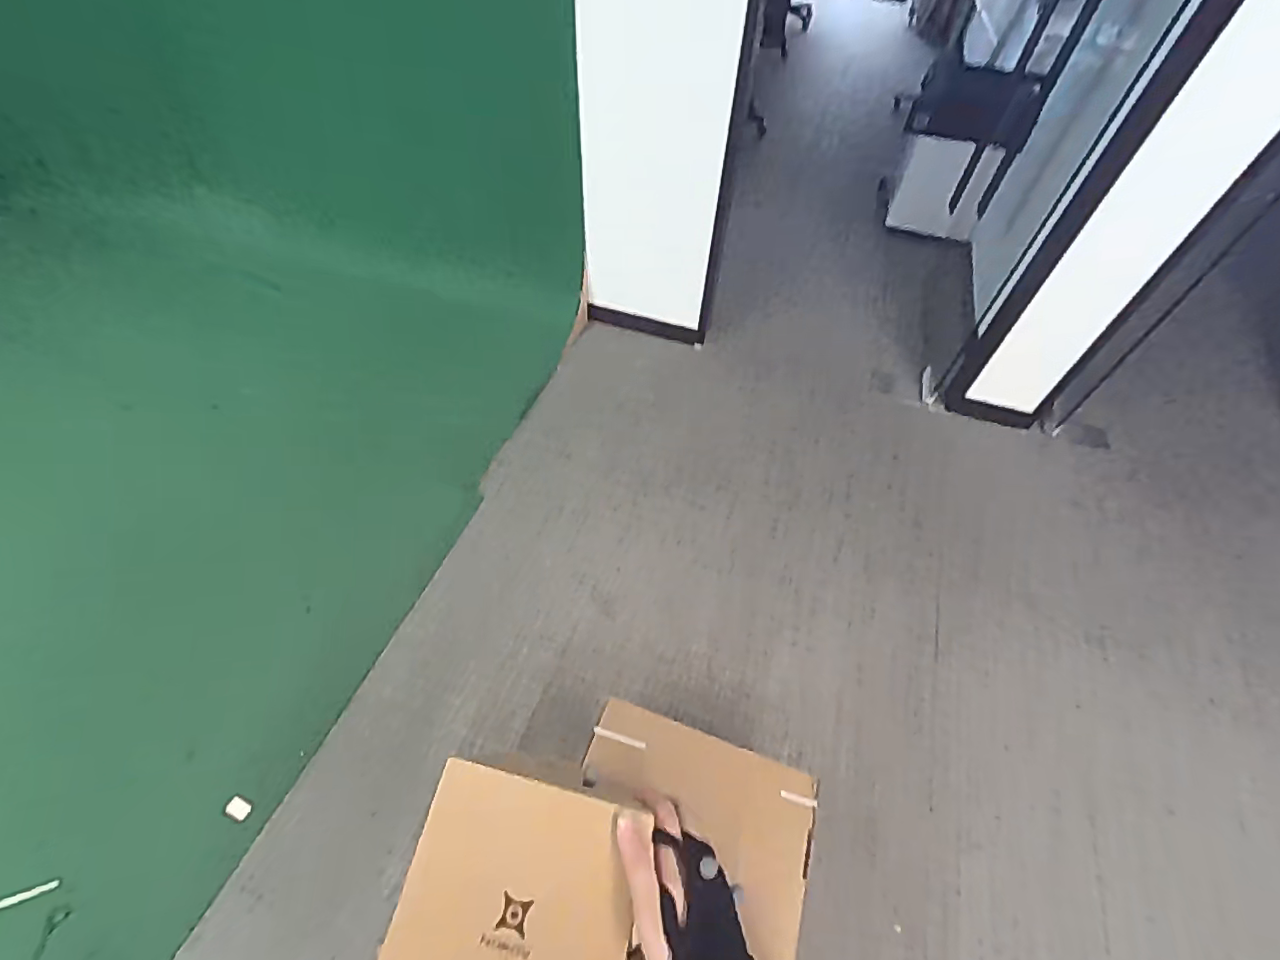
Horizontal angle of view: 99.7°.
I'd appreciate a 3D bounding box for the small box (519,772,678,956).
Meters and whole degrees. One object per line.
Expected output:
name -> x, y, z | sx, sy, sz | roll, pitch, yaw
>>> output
small box -> -0.055, 0.564, 0.802 | 0.179, 0.176, 0.168 | 16, 51, 10
